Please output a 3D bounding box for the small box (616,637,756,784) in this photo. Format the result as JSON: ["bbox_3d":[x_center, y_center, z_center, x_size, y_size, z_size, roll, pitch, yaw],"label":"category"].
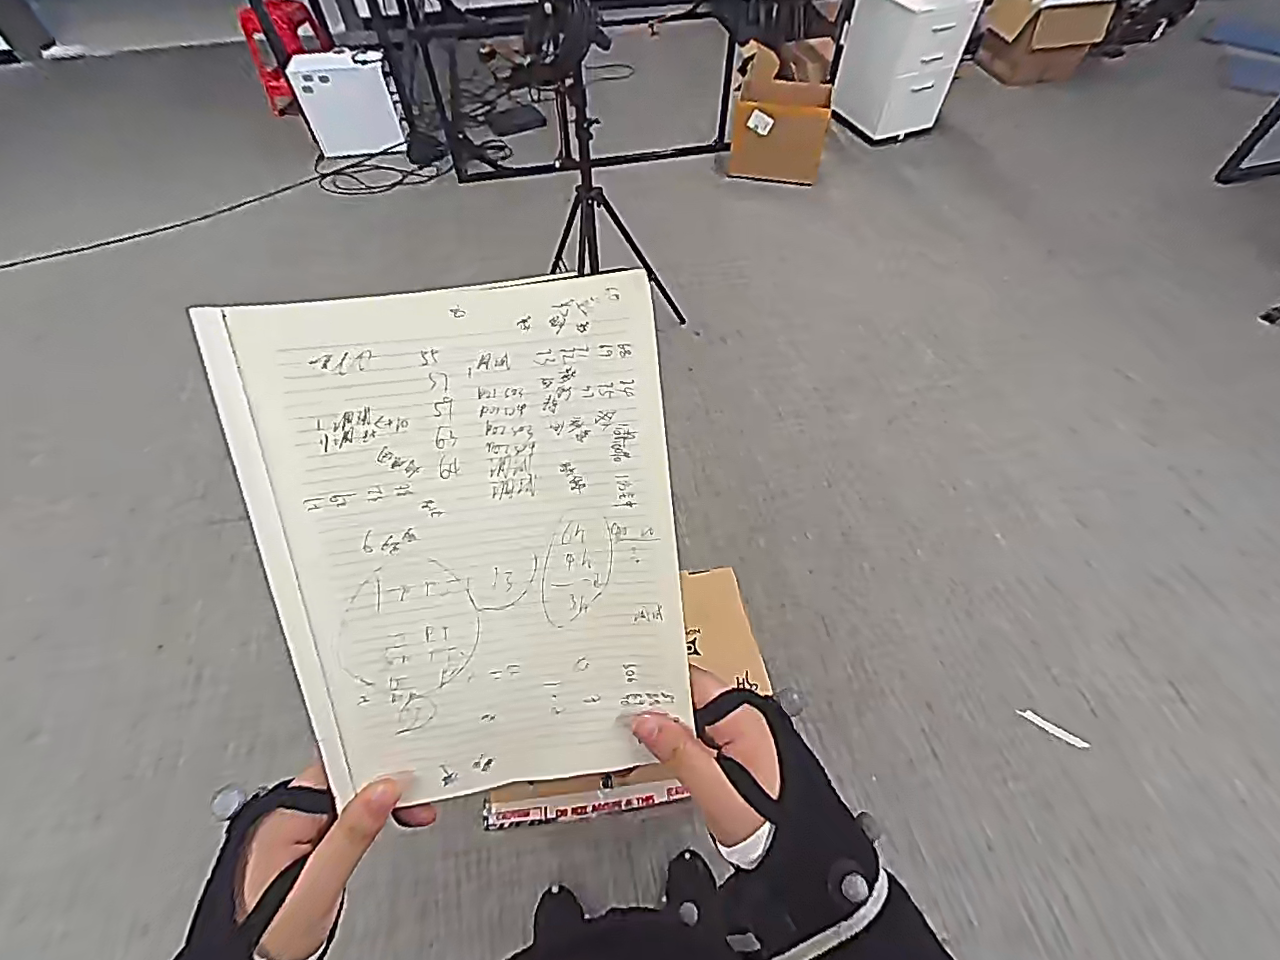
[{"bbox_3d":[0.061,0.368,0.856,0.179,0.176,0.168,-11,57,-8],"label":"small box"}]

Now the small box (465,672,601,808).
[{"bbox_3d":[-0.152,0.403,0.832,0.179,0.176,0.168,-5,58,-1],"label":"small box"}]
